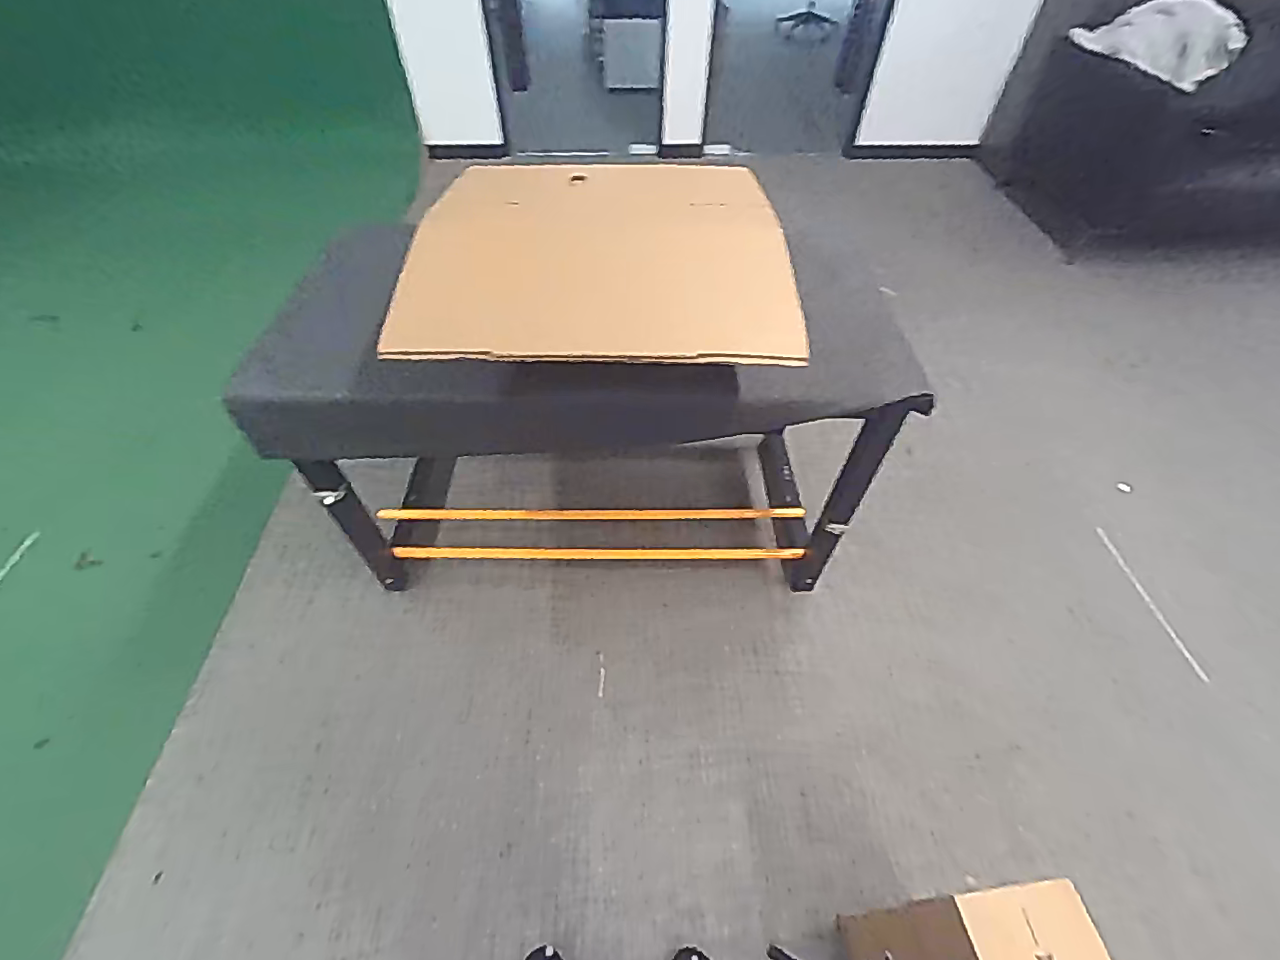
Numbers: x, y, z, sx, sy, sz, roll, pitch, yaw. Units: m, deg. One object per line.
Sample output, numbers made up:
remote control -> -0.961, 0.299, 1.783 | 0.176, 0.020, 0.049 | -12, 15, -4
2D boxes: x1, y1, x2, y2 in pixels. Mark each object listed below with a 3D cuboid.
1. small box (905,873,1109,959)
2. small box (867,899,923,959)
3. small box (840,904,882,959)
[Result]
small box -> 0.488, 0.641, 0.713 | 0.168, 0.176, 0.179 | -4, 49, -5
small box -> 0.487, 0.749, 0.838 | 0.179, 0.176, 0.168 | -6, 50, -5
small box -> 0.479, 0.861, 0.957 | 0.168, 0.176, 0.179 | -5, 50, -5
